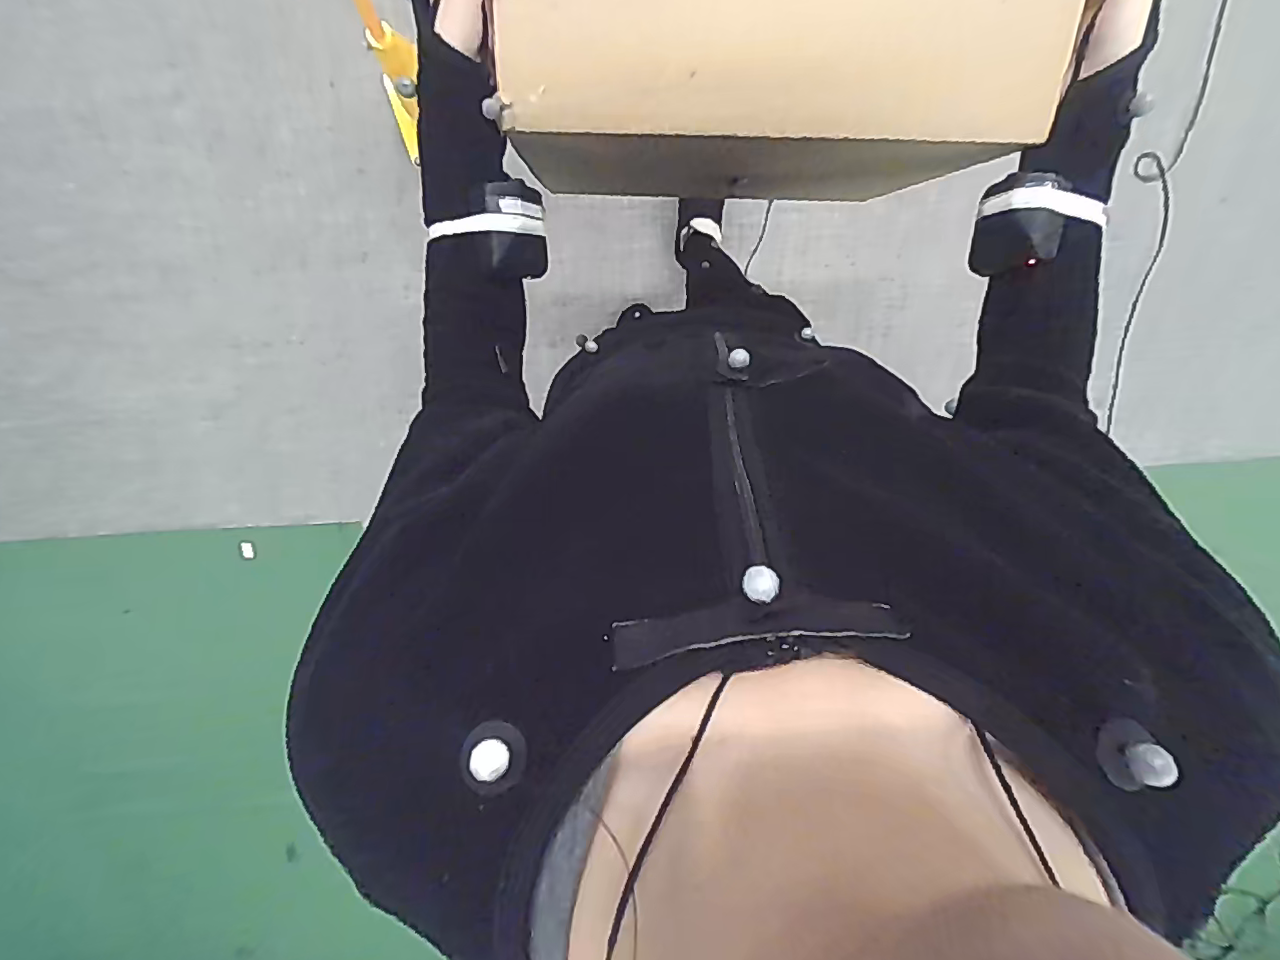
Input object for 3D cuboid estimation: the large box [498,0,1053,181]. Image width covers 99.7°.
[{"bbox_3d":[0.096,-0.464,0.492,0.408,0.320,0.320,0,111,-2],"label":"large box"}]
